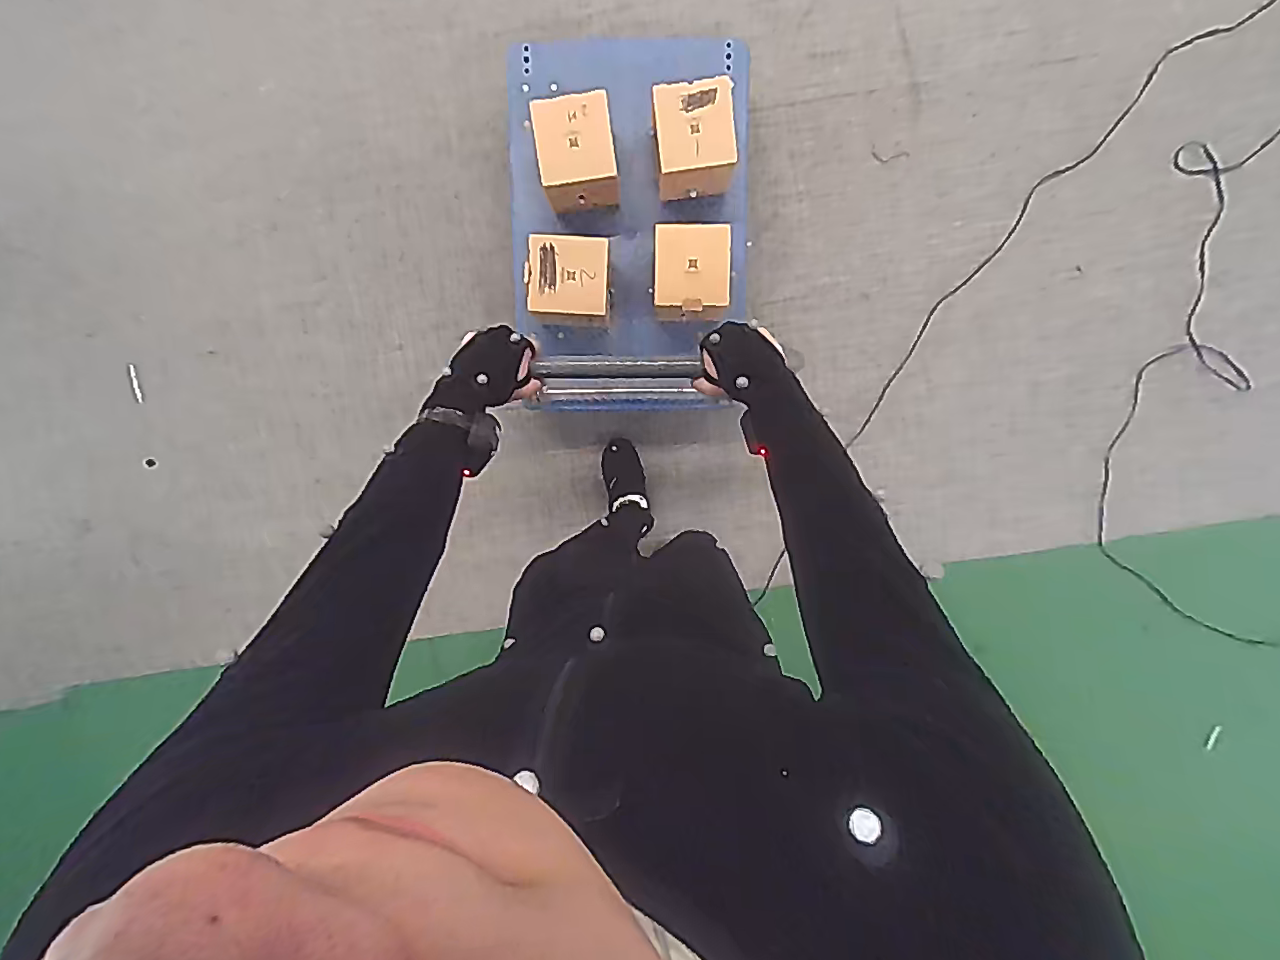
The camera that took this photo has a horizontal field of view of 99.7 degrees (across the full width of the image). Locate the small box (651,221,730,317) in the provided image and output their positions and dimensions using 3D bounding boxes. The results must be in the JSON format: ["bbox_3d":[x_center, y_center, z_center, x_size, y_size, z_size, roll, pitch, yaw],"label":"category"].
[{"bbox_3d":[0.111,-0.484,1.258,0.168,0.176,0.179,0,98,0],"label":"small box"}]

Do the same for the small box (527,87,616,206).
[{"bbox_3d":[-0.146,-0.739,1.222,0.168,0.176,0.179,-8,97,0],"label":"small box"}]

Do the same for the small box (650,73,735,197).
[{"bbox_3d":[0.112,-0.767,1.218,0.168,0.176,0.179,-7,98,2],"label":"small box"}]
